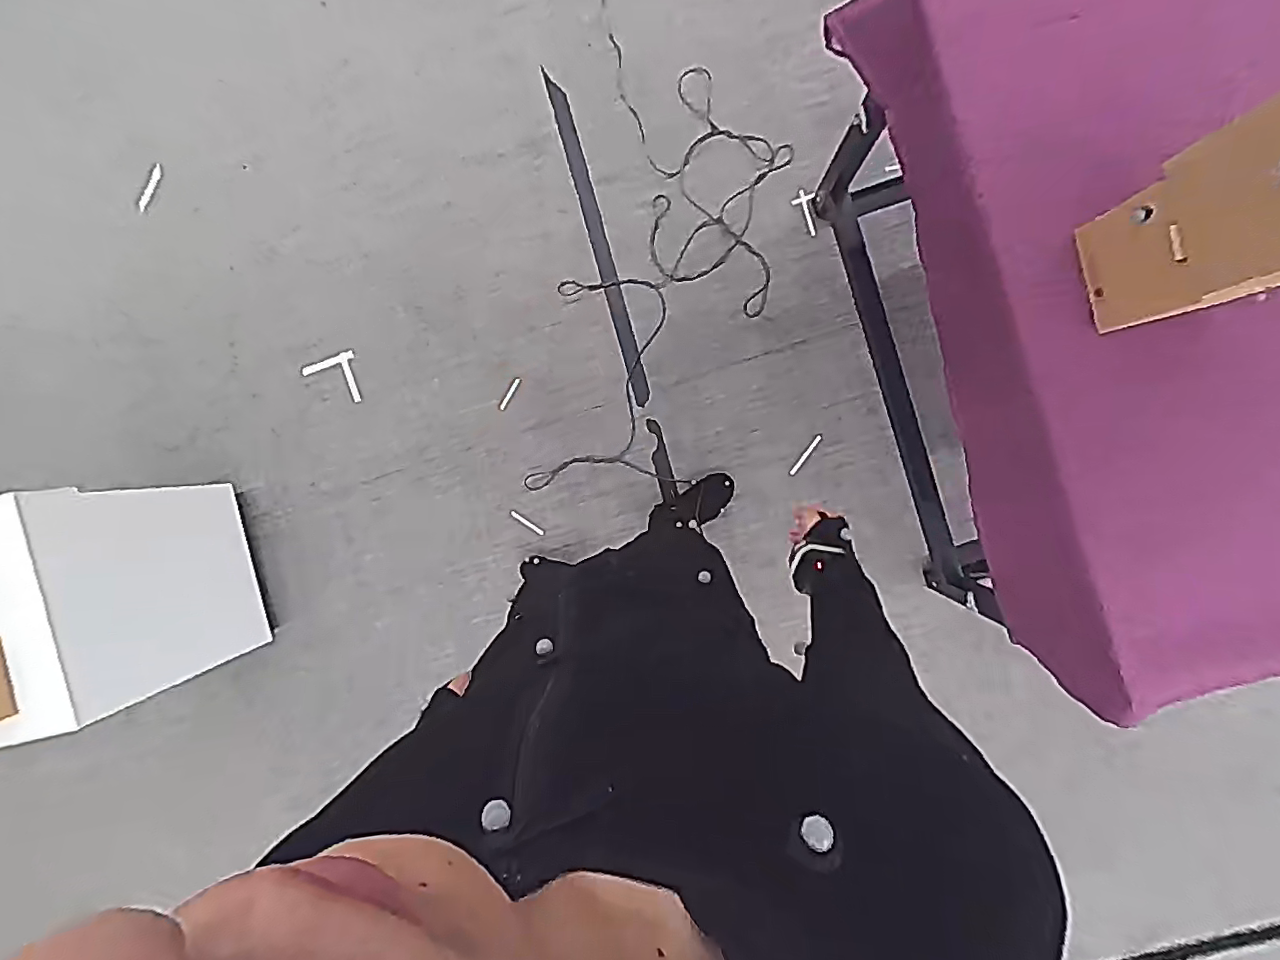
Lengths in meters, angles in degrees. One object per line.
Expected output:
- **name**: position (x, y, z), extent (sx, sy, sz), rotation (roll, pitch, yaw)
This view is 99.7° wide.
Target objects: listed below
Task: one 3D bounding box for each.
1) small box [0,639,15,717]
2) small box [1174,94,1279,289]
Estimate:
- **small box**: position (-1.408, 0.422, 1.065), extent (0.168, 0.176, 0.179), rotation (-12, 91, 4)
- **small box**: position (0.744, -0.333, 0.586), extent (0.168, 0.176, 0.179), rotation (-14, 92, 4)
